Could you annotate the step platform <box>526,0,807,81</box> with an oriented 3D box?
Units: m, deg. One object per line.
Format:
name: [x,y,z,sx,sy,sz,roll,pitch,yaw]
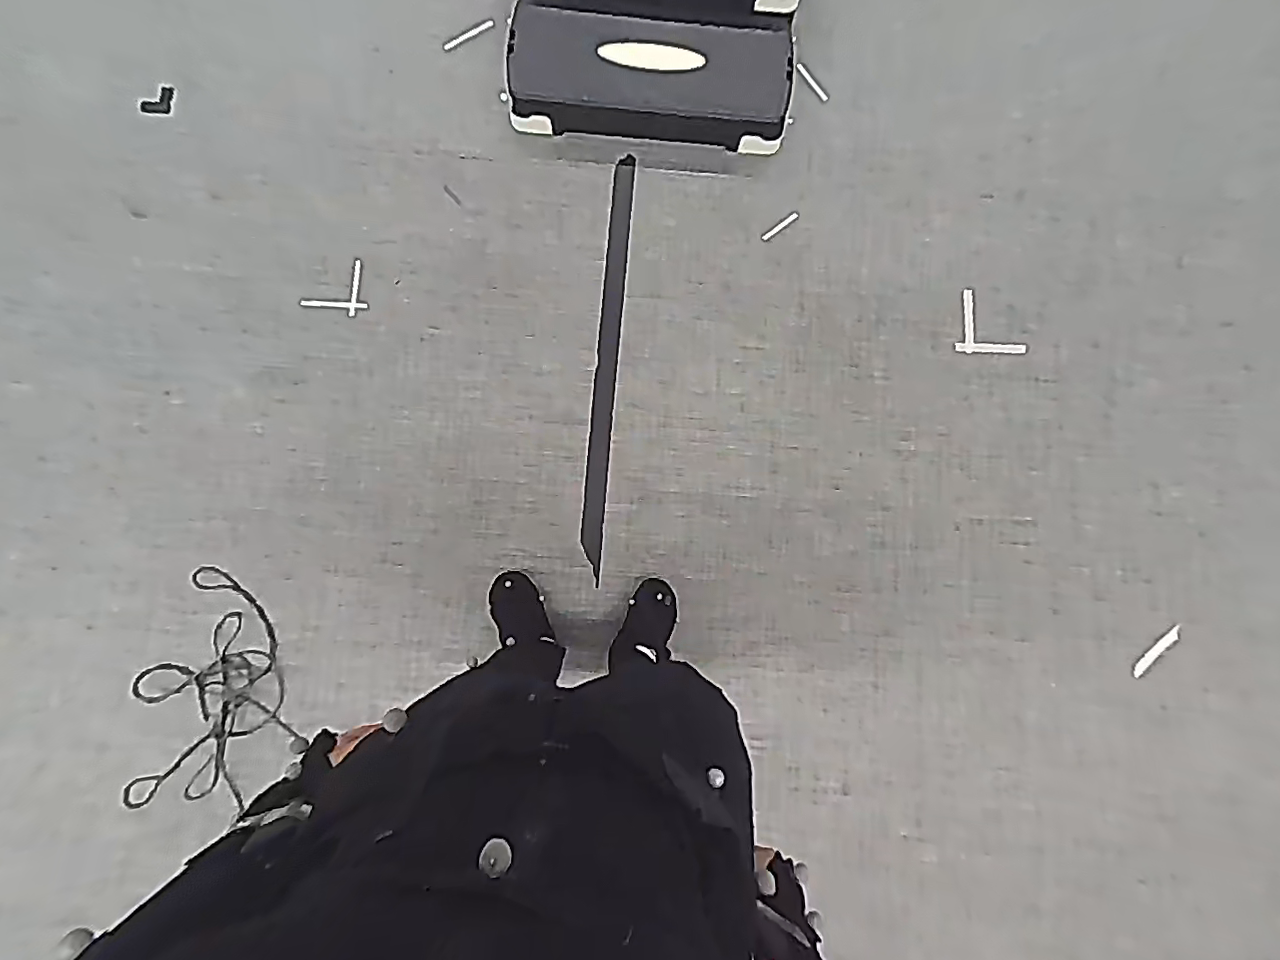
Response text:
step platform: [0.067,-1.219,1.315,0.684,0.204,0.286,9,82,-2]
